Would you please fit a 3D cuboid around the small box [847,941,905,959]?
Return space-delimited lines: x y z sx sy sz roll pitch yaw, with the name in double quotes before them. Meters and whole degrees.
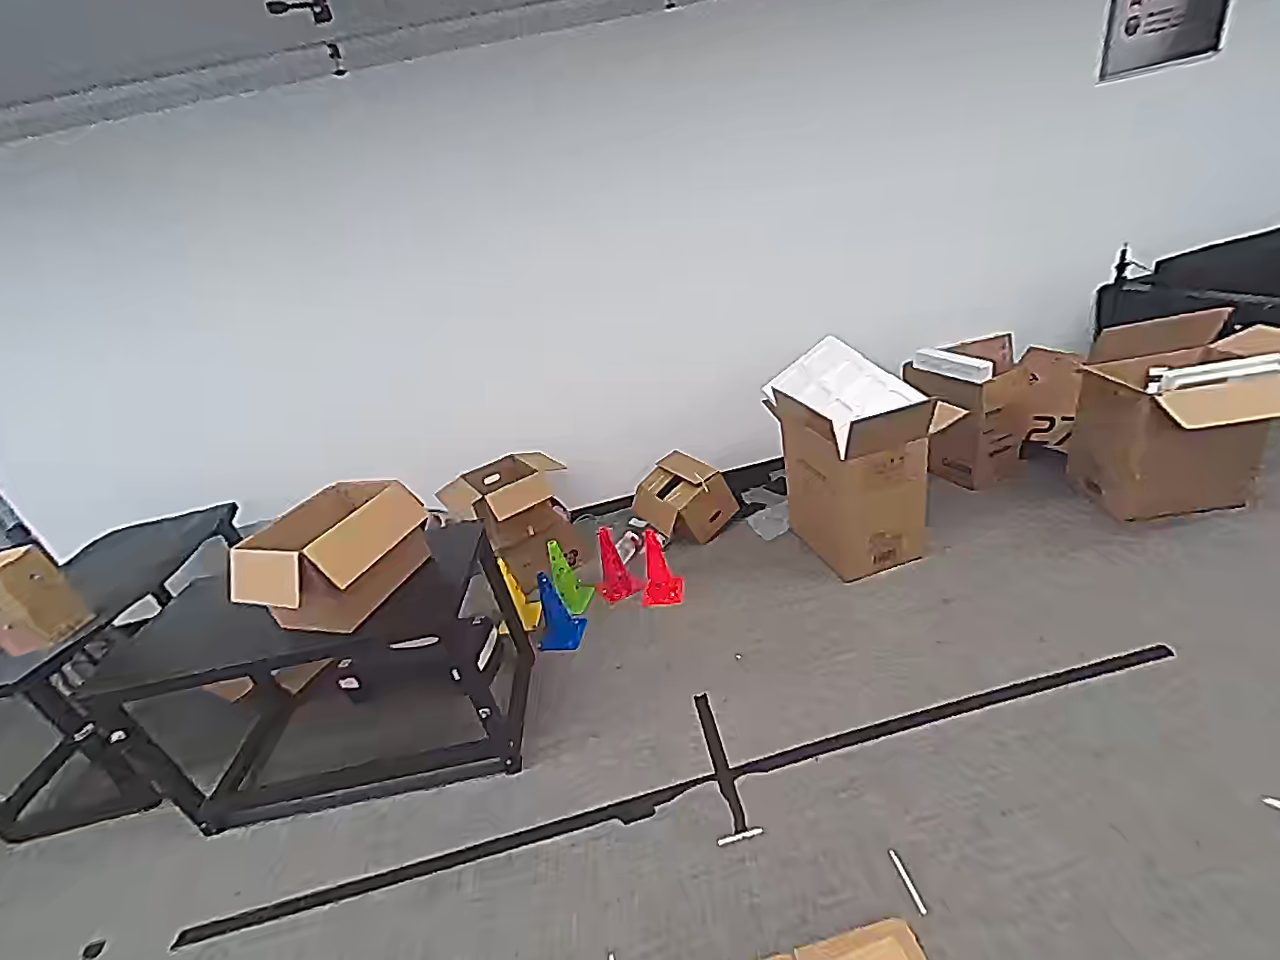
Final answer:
"small box" 0.515 1.136 1.134 0.168 0.176 0.179 -16 26 -7
